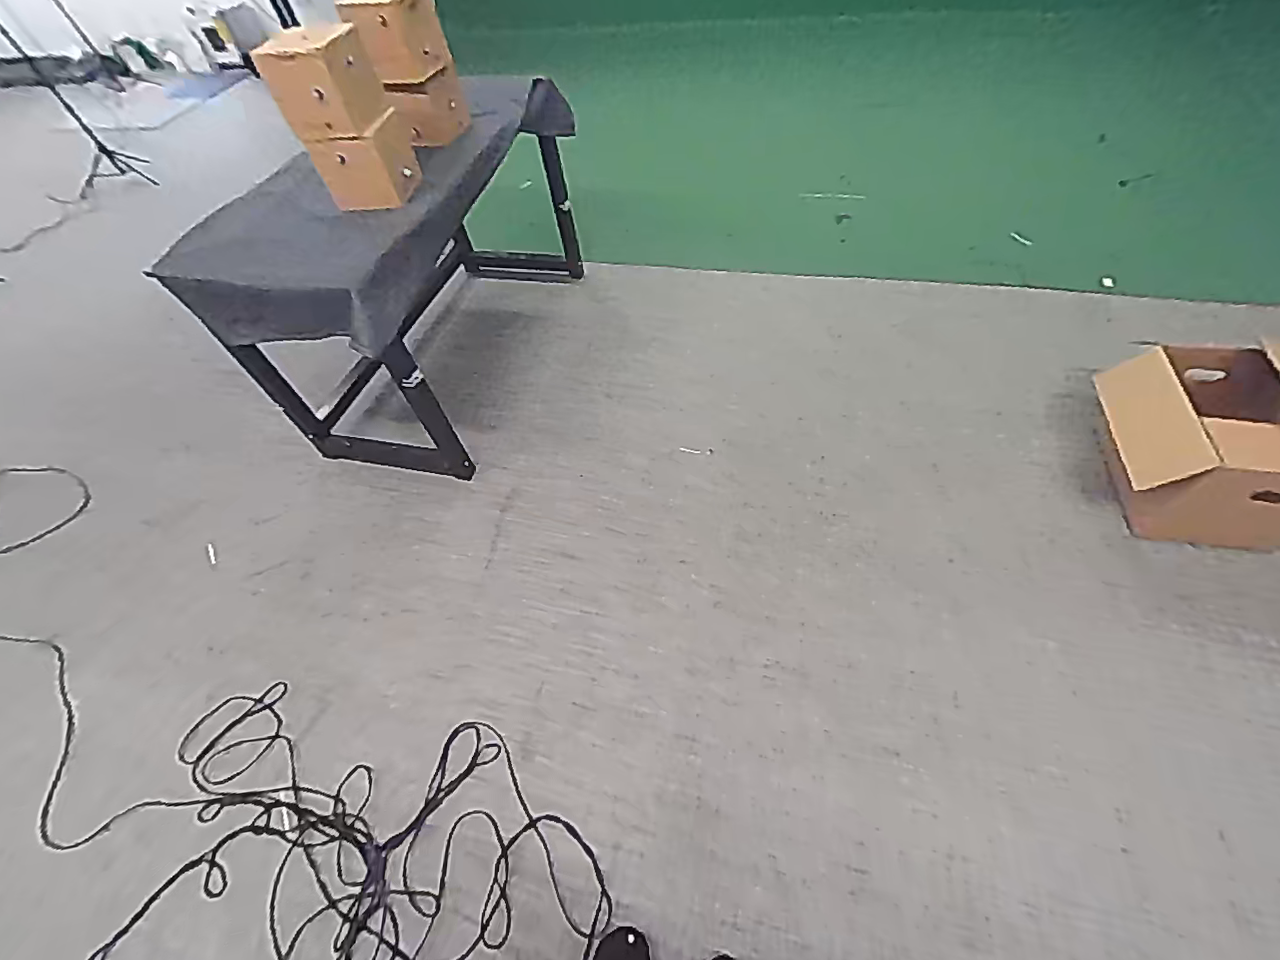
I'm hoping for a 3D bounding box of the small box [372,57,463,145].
[{"bbox_3d":[-0.638,-1.089,1.556,0.179,0.176,0.168,9,56,13],"label":"small box"}]

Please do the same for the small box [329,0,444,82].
[{"bbox_3d":[-0.650,-1.164,1.409,0.179,0.176,0.168,12,56,15],"label":"small box"}]

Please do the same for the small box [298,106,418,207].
[{"bbox_3d":[-0.692,-0.800,1.348,0.179,0.176,0.168,1,54,7],"label":"small box"}]

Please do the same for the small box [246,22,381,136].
[{"bbox_3d":[-0.722,-0.901,1.224,0.168,0.176,0.179,4,53,8],"label":"small box"}]
